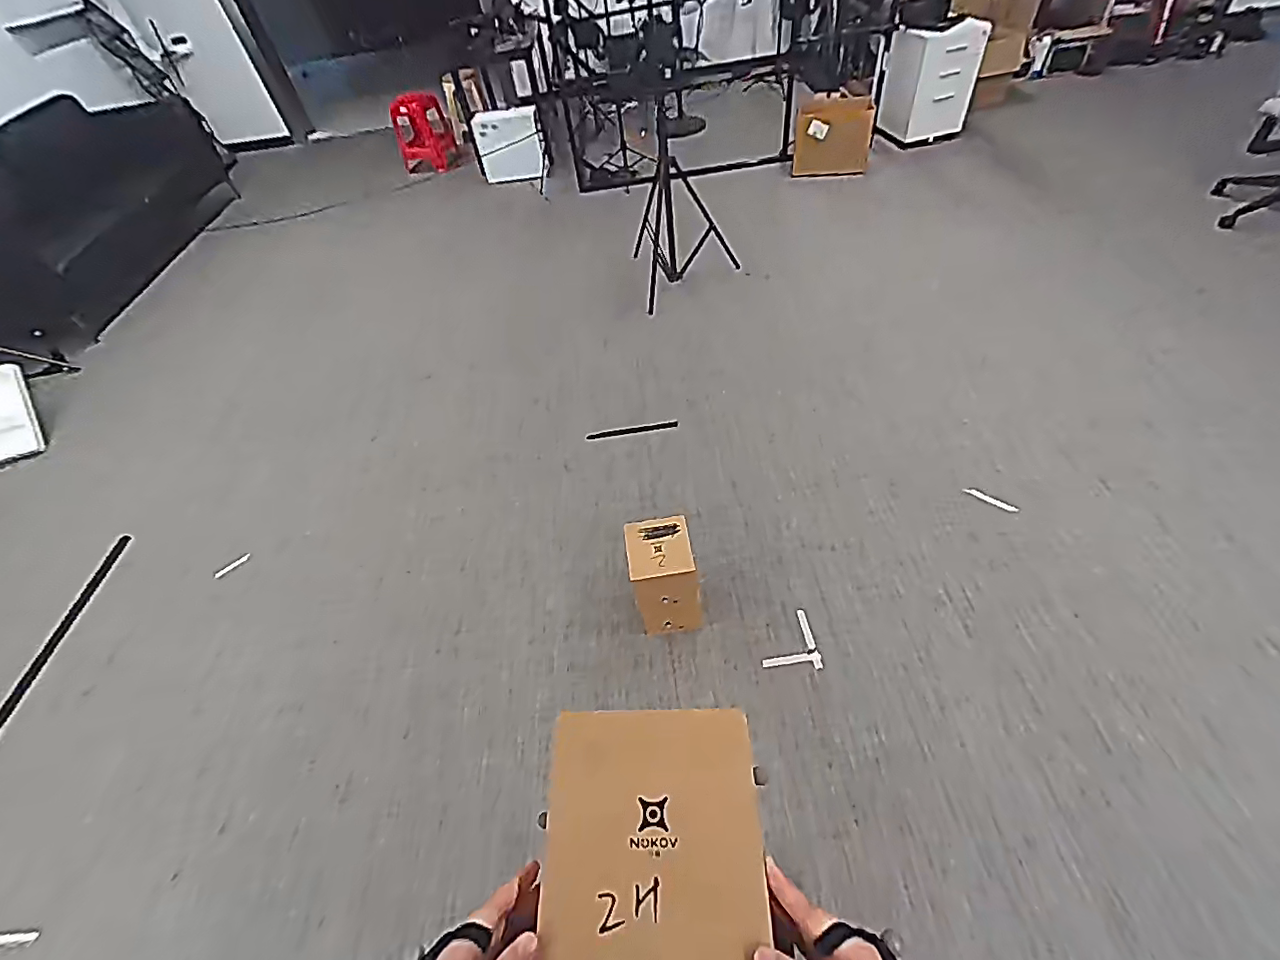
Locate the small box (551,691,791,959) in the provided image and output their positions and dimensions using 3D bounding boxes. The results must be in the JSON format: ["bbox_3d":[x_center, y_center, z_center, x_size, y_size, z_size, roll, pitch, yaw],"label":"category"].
[{"bbox_3d":[0.024,0.304,0.477,0.168,0.176,0.179,-2,50,2],"label":"small box"}]

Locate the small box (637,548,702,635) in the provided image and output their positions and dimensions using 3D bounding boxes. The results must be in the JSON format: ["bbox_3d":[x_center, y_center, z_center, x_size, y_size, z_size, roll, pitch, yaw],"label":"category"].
[{"bbox_3d":[0.085,0.325,1.571,0.168,0.176,0.179,-9,49,1],"label":"small box"}]
